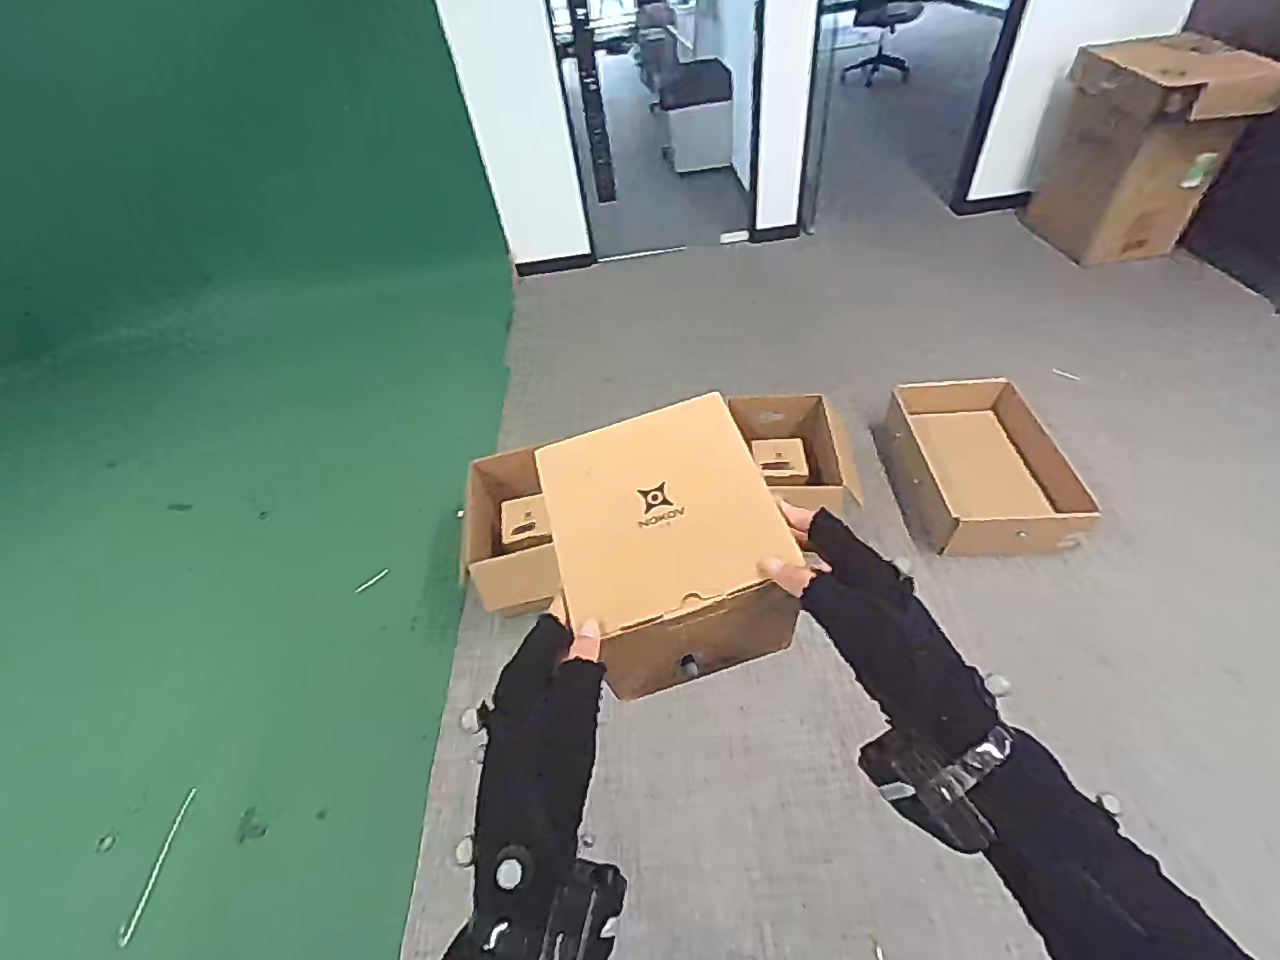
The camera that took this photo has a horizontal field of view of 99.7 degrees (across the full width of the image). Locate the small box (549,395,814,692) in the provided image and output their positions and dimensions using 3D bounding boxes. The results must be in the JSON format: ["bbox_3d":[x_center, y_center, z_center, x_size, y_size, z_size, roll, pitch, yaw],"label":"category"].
[{"bbox_3d":[0.032,0.061,0.476,0.168,0.176,0.179,-18,55,-1],"label":"small box"}]
